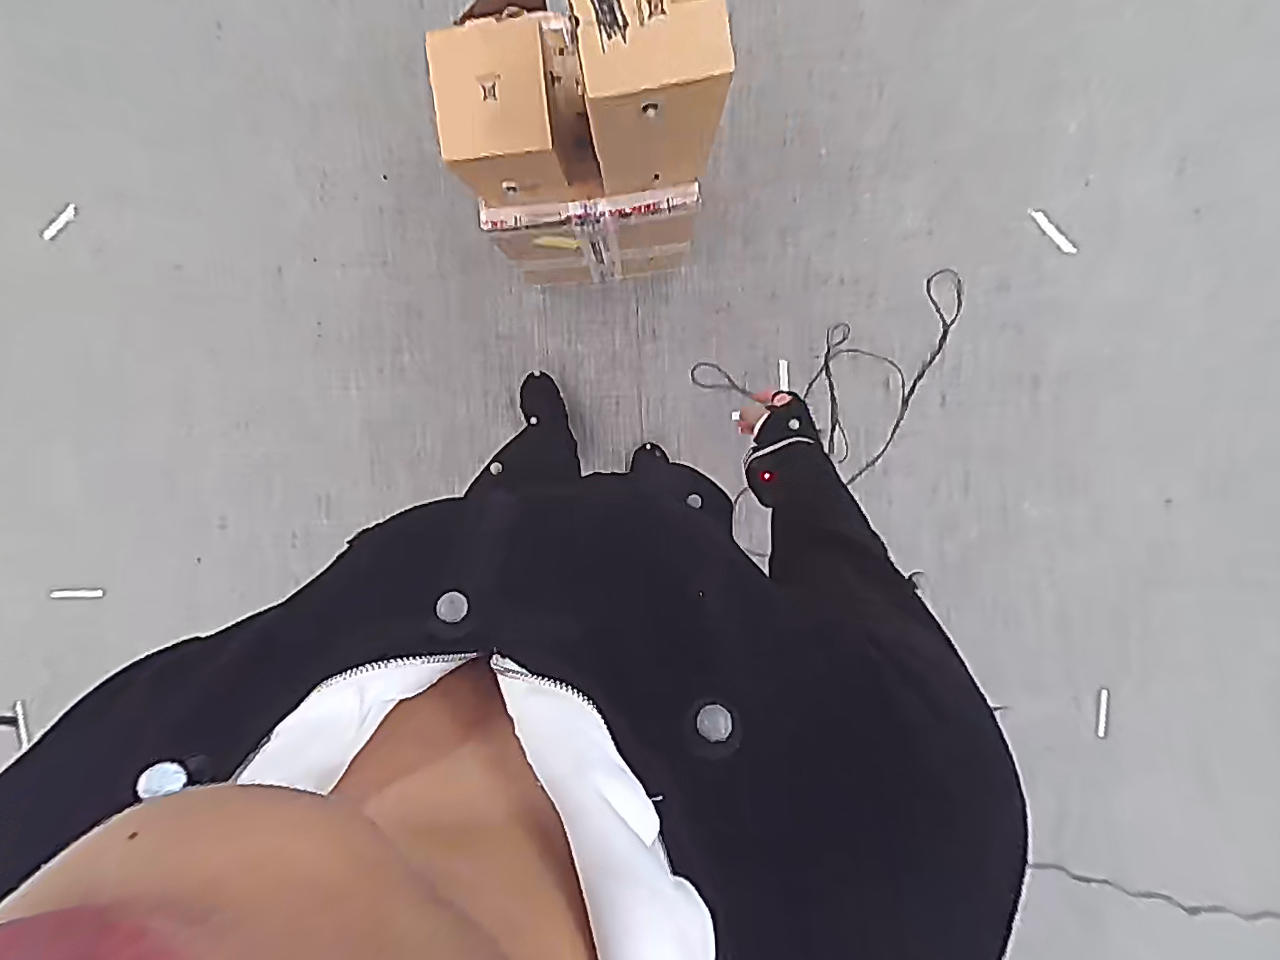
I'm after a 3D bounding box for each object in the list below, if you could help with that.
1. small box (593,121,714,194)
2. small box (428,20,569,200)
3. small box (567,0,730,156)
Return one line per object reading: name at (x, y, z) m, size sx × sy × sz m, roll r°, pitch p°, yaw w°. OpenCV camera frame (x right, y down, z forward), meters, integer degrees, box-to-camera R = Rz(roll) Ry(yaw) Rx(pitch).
small box at (0.009, -0.579, 0.858) m, size 0.179 × 0.176 × 0.168 m, roll -10°, pitch 99°, yaw 1°
small box at (-0.213, -0.574, 0.861) m, size 0.168 × 0.176 × 0.179 m, roll -5°, pitch 100°, yaw 3°
small box at (0.008, -0.547, 0.696) m, size 0.179 × 0.176 × 0.168 m, roll -10°, pitch 100°, yaw 1°
